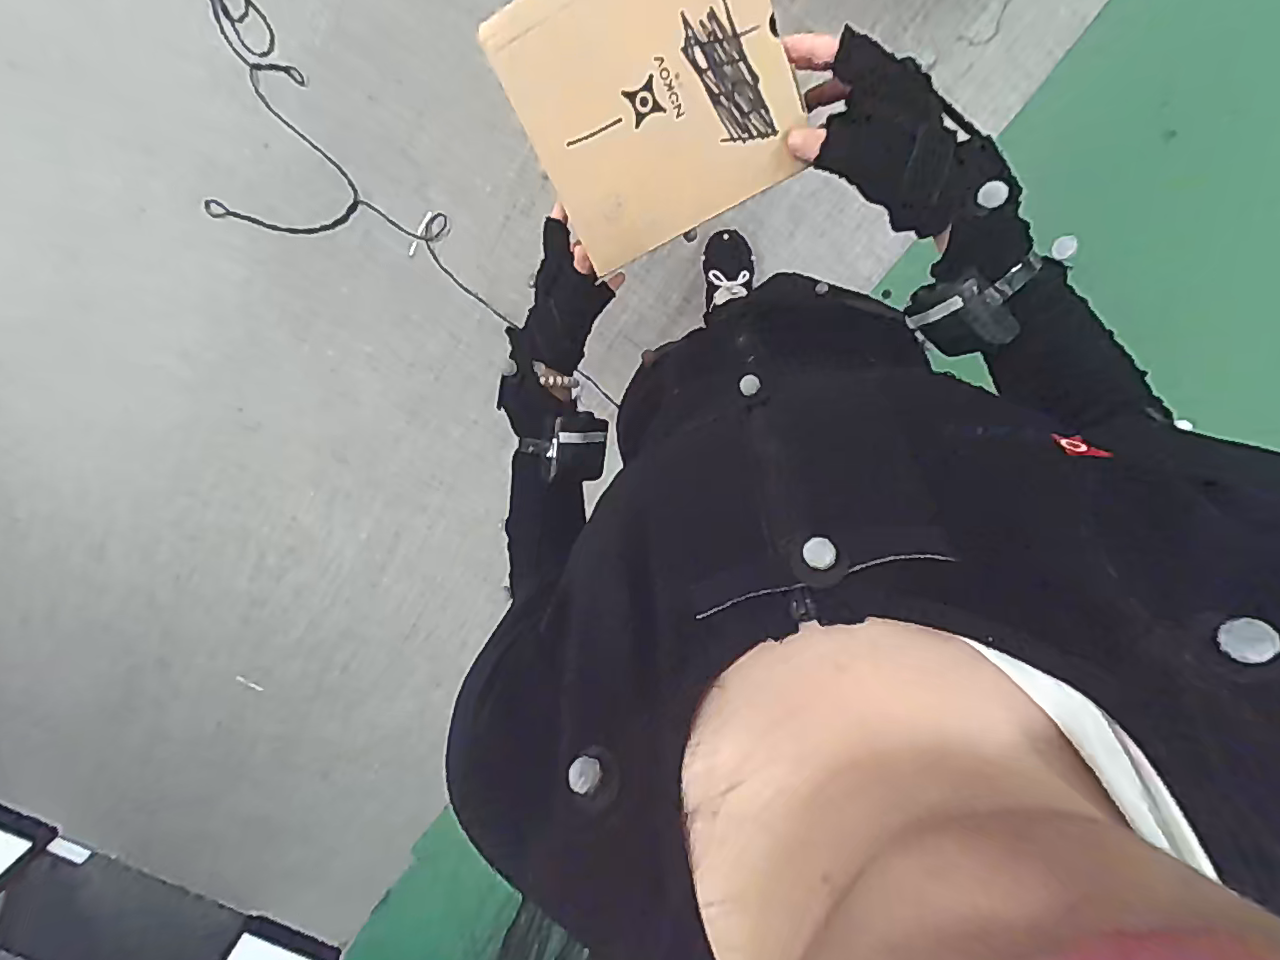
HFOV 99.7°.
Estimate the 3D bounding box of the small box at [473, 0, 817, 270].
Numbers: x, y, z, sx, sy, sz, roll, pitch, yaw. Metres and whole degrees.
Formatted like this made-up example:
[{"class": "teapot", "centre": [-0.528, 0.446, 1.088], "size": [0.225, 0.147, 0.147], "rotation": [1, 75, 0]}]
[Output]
[{"class": "small box", "centre": [0.006, -0.288, 0.414], "size": [0.179, 0.176, 0.168], "rotation": [-24, 117, 11]}]
